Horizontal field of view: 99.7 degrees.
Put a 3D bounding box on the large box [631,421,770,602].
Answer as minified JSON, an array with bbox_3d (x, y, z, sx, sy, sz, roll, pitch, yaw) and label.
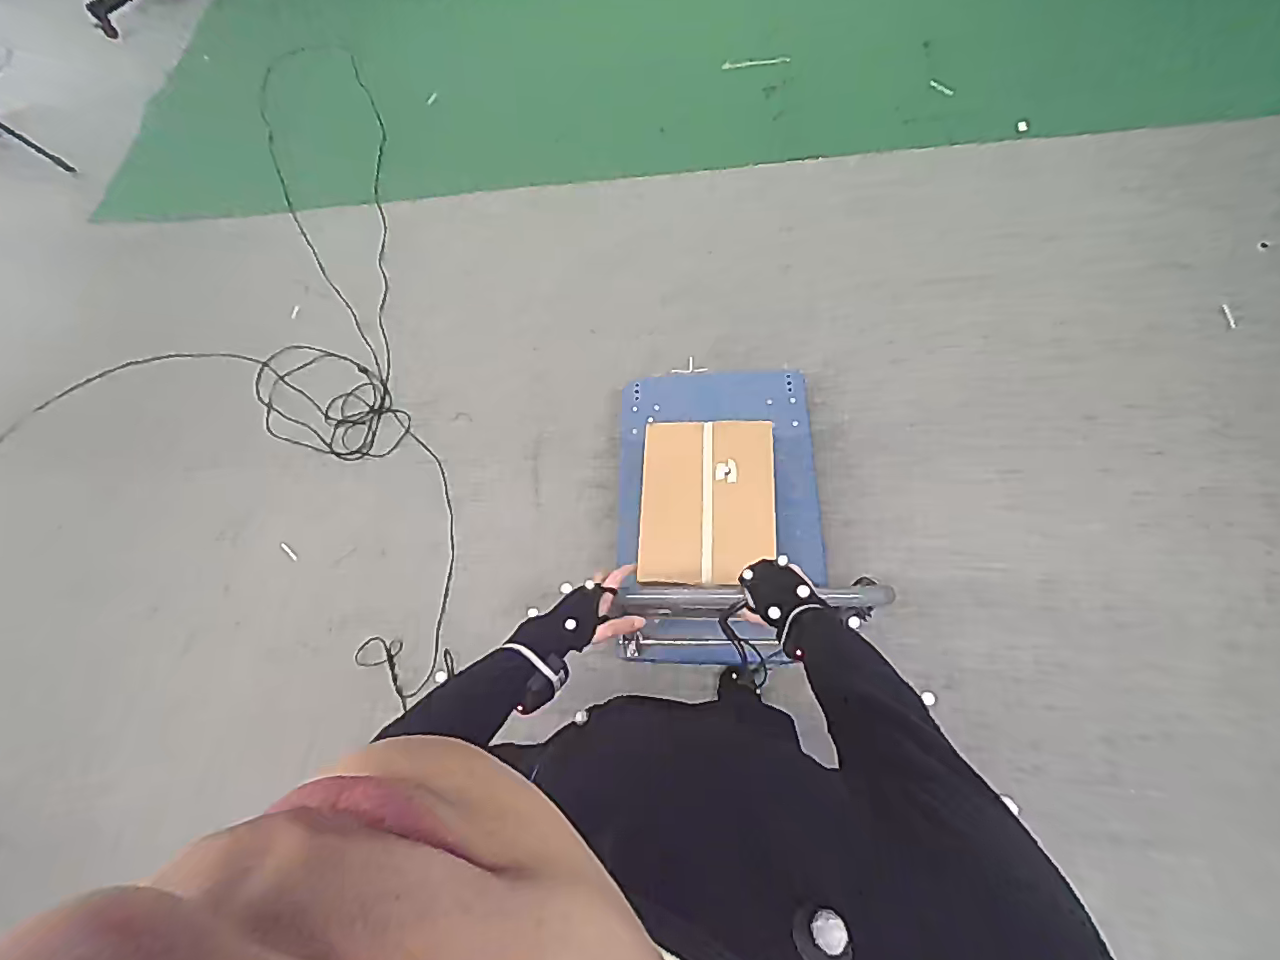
[{"bbox_3d":[0.161,0.095,1.413,0.320,0.320,0.408,1,68,8],"label":"large box"}]
